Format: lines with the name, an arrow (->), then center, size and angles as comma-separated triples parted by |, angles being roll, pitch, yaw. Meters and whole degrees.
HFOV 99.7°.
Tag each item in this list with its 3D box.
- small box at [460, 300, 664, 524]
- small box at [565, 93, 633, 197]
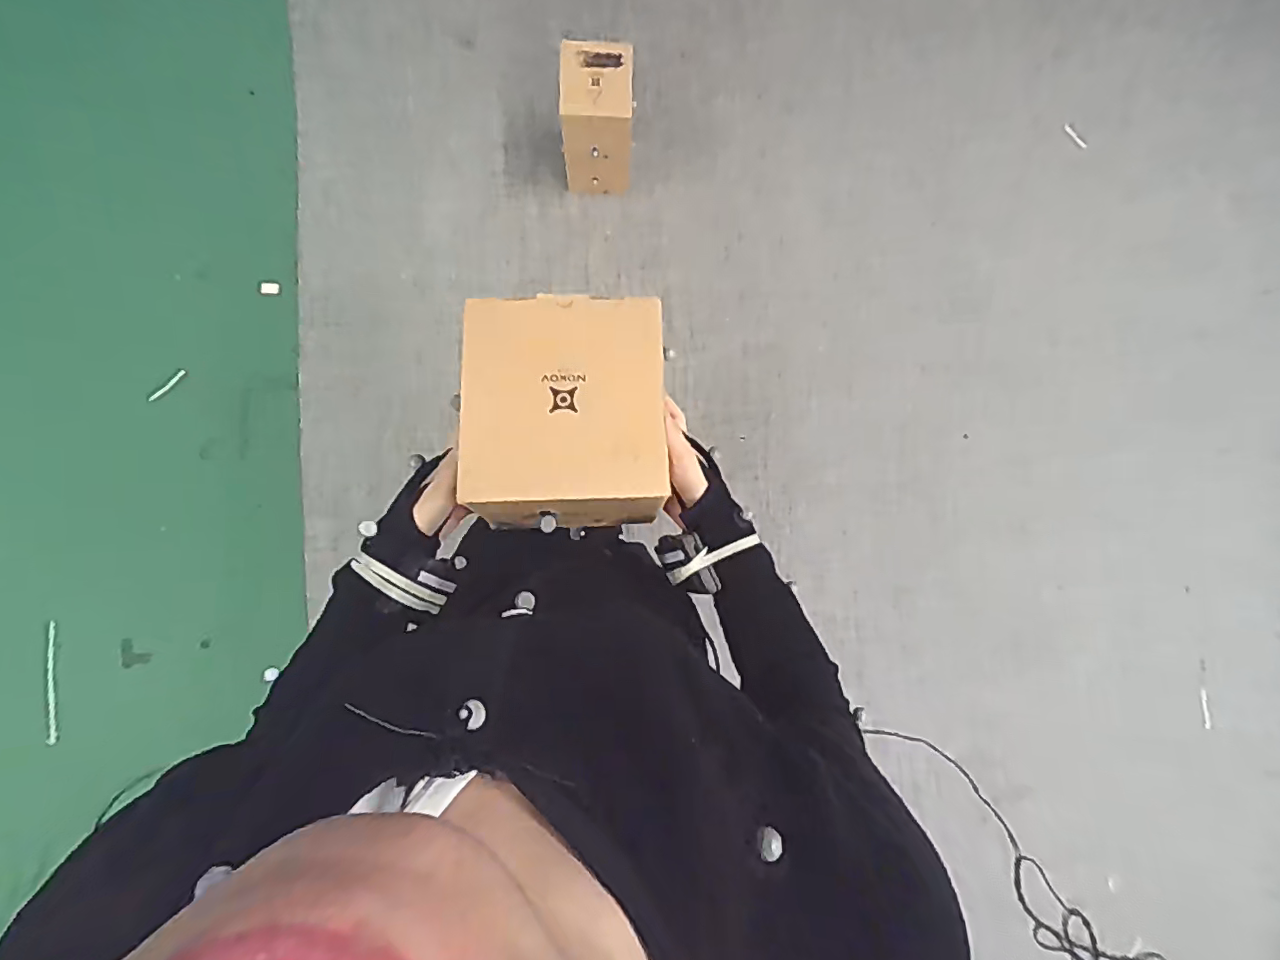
small box -> -0.065, -0.052, 0.522 | 0.168, 0.176, 0.179 | -1, 77, -3
small box -> -0.109, -0.898, 1.466 | 0.168, 0.176, 0.179 | 4, 88, -3
